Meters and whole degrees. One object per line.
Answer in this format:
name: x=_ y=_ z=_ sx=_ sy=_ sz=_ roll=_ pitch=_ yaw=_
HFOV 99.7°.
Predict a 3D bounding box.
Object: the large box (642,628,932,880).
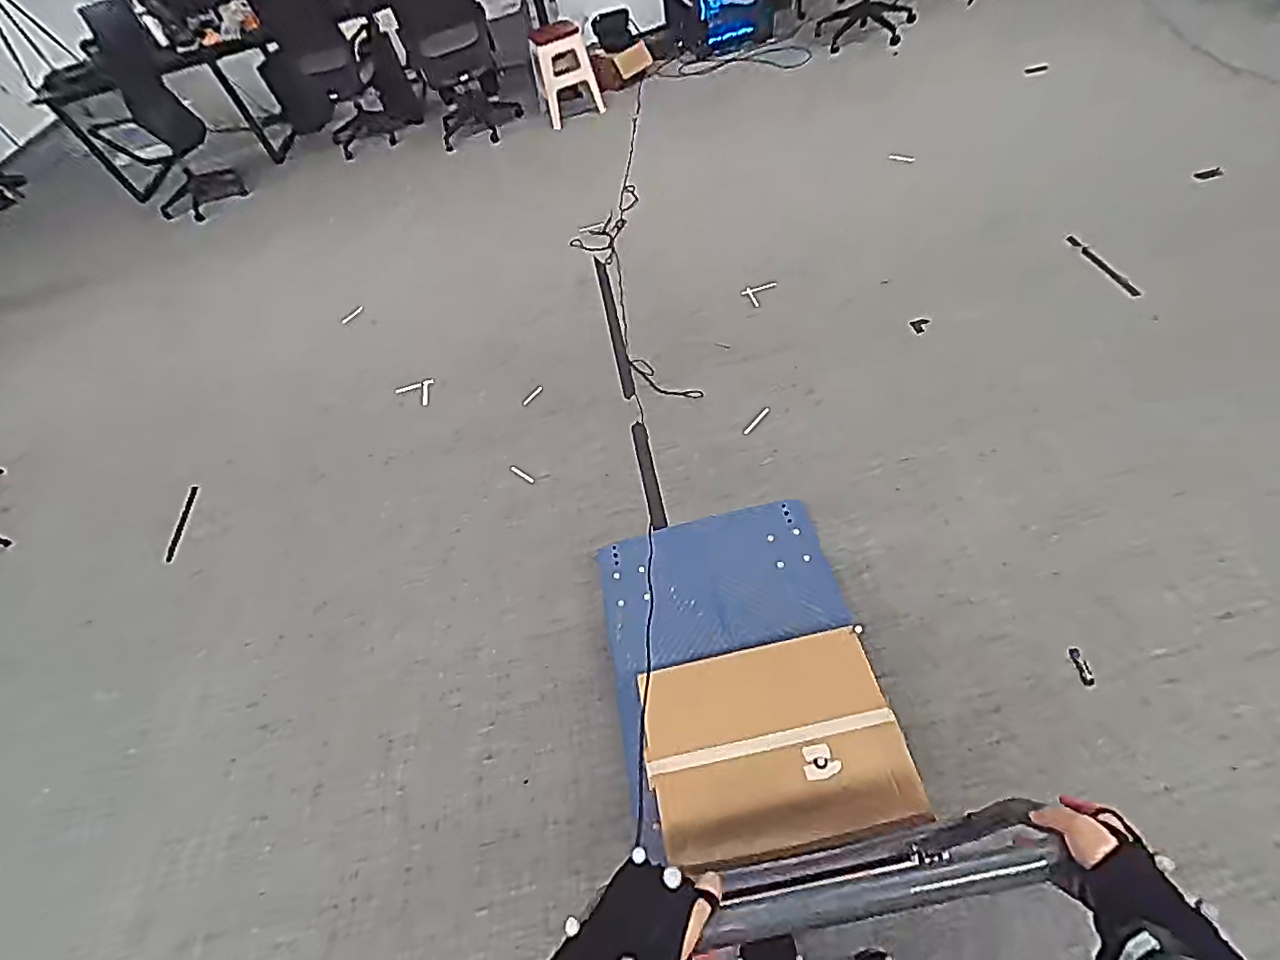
large box: x=0.244 y=0.524 z=1.017 sx=0.408 sy=0.320 sz=0.320 roll=-14 pitch=53 yaw=2
